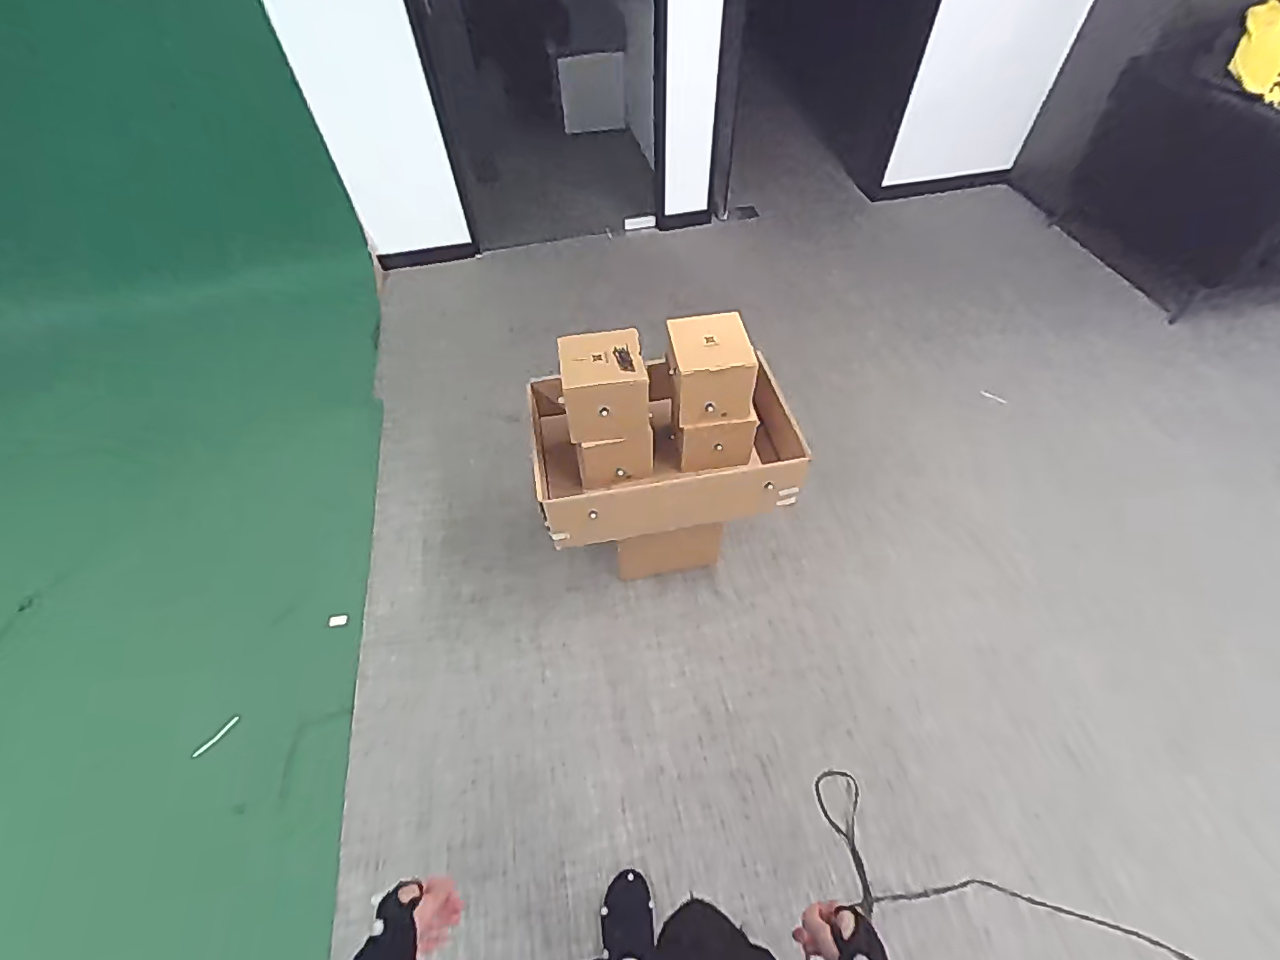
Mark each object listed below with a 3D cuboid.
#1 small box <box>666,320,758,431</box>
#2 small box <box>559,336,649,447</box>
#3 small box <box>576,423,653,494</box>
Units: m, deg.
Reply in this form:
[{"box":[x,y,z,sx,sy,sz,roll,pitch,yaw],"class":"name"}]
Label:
[{"box":[0.153,-0.234,1.220,0.168,0.176,0.179,-8,53,-4],"class":"small box"},{"box":[-0.077,-0.191,1.188,0.179,0.176,0.168,-7,52,-3],"class":"small box"},{"box":[-0.070,-0.093,1.320,0.168,0.176,0.179,-12,54,-8],"class":"small box"}]
